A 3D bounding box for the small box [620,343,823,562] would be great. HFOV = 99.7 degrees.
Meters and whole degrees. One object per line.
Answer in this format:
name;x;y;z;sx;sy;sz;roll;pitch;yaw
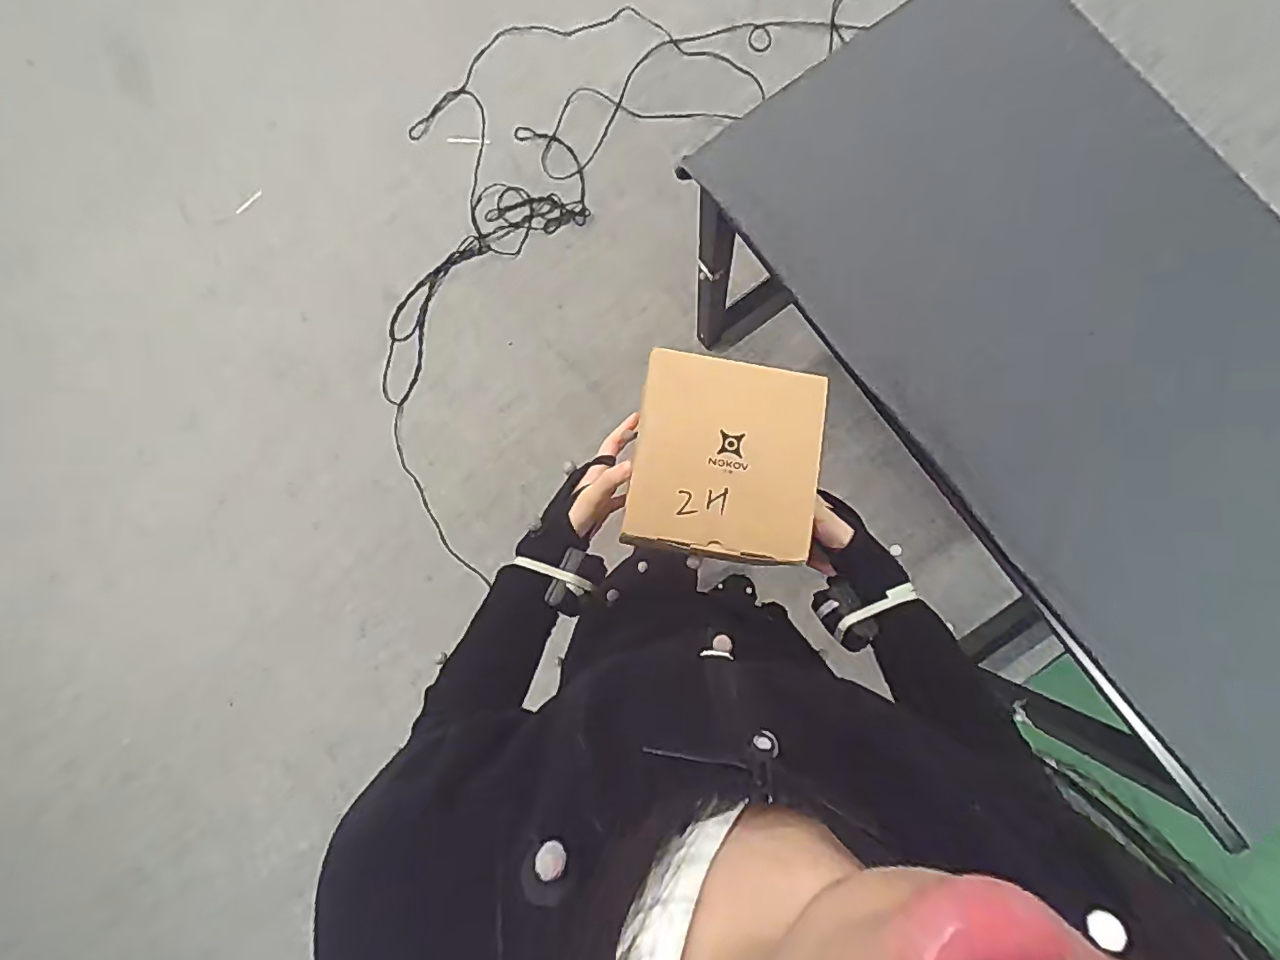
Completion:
small box;0.072;-0.015;0.563;0.168;0.176;0.179;10;80;-1
